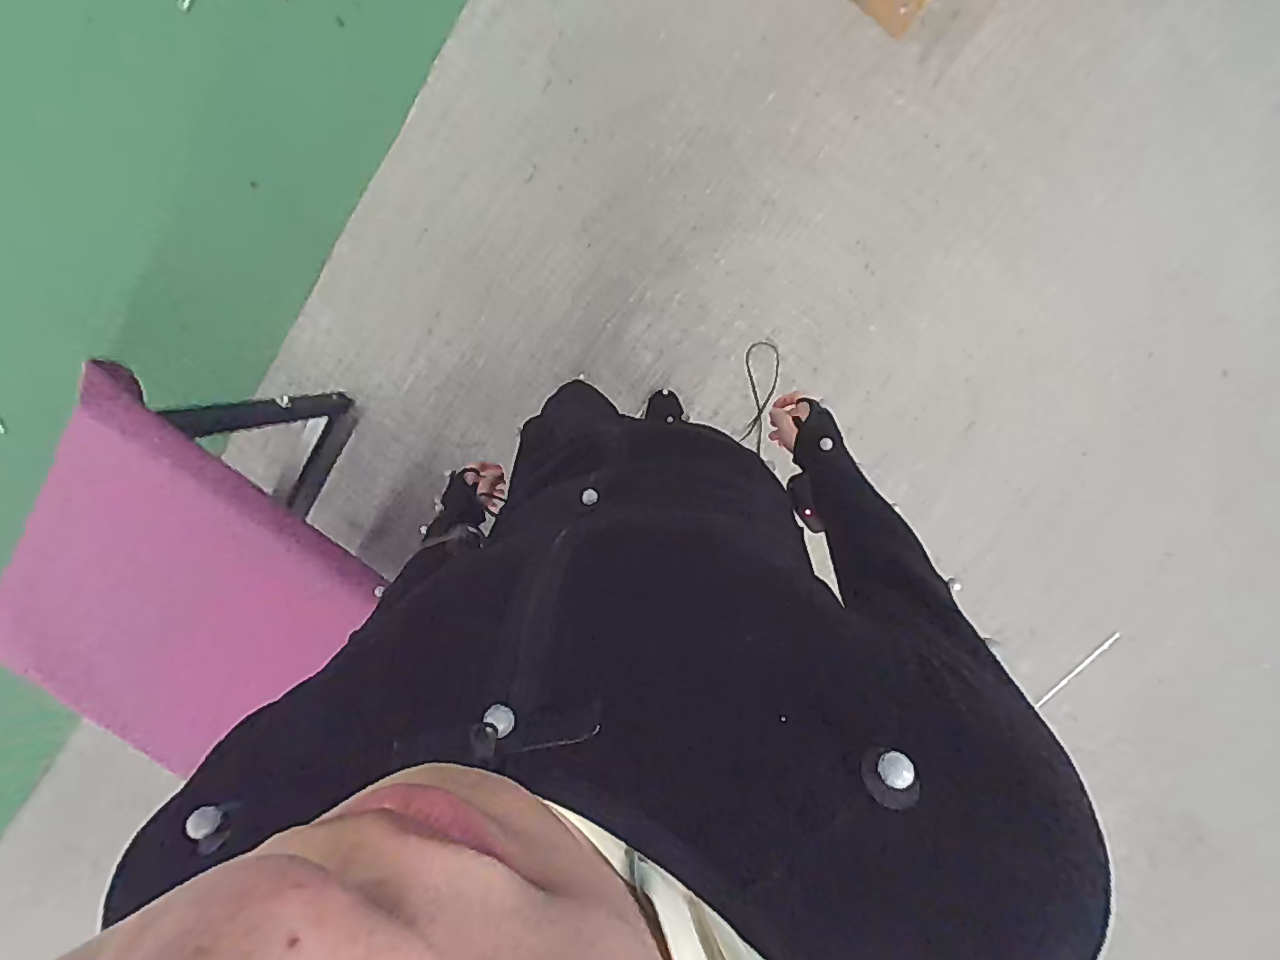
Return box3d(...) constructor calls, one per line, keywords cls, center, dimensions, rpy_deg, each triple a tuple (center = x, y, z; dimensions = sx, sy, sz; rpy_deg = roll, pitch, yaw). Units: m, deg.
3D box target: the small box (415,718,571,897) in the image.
box3d(cls="small box", center=(-0.244, 0.561, 0.947), dimensions=(0.179, 0.176, 0.168), rpy_deg=(37, 105, -3))
